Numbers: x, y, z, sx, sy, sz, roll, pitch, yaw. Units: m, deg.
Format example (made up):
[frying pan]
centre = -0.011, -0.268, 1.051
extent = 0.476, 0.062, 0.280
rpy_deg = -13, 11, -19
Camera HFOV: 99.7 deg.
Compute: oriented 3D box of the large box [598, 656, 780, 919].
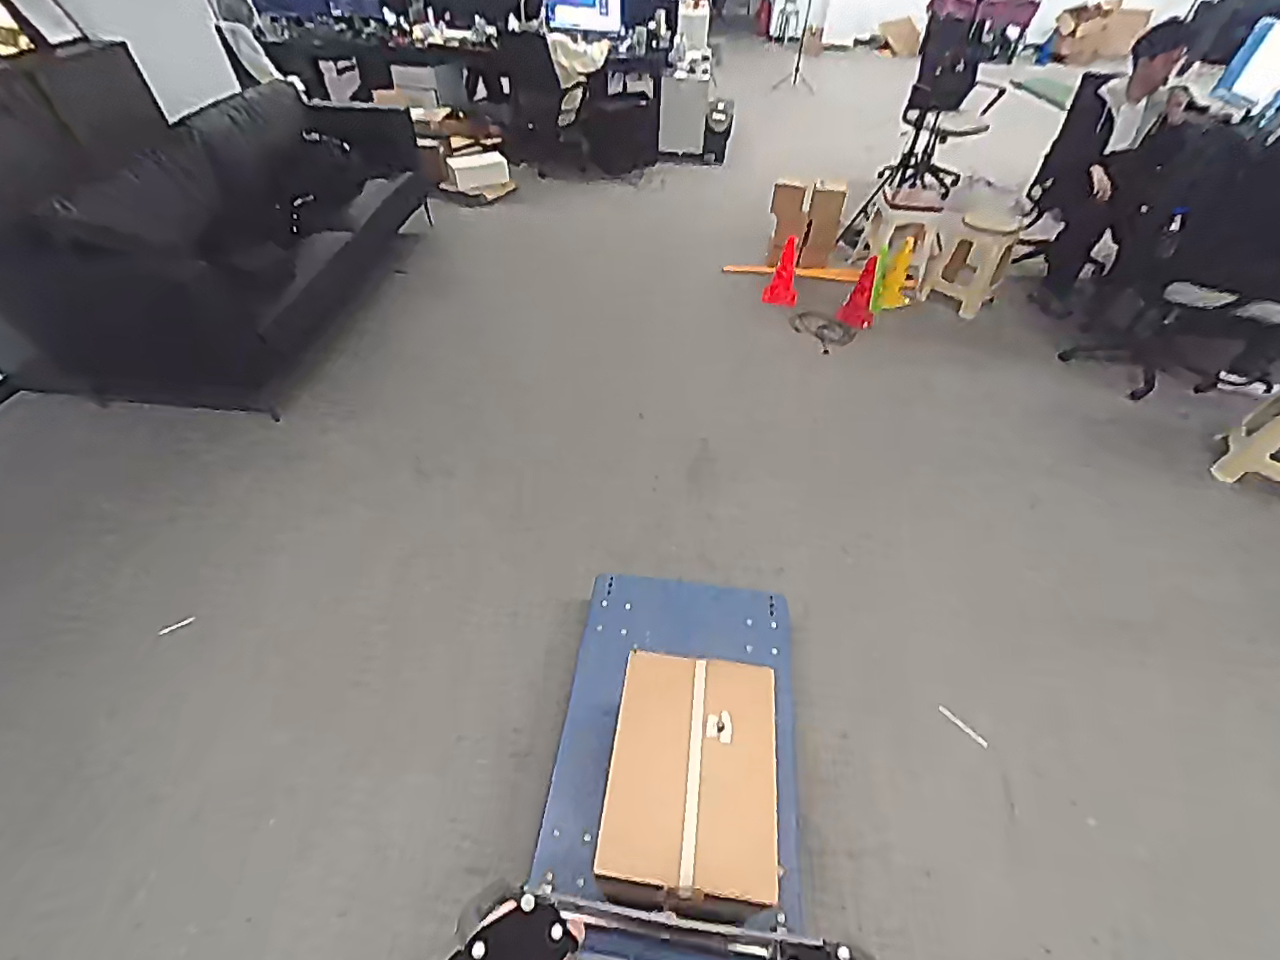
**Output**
[large box]
centre = 0.103, 0.642, 1.142
extent = 0.320, 0.320, 0.408
rpy_deg = 6, 47, 5
